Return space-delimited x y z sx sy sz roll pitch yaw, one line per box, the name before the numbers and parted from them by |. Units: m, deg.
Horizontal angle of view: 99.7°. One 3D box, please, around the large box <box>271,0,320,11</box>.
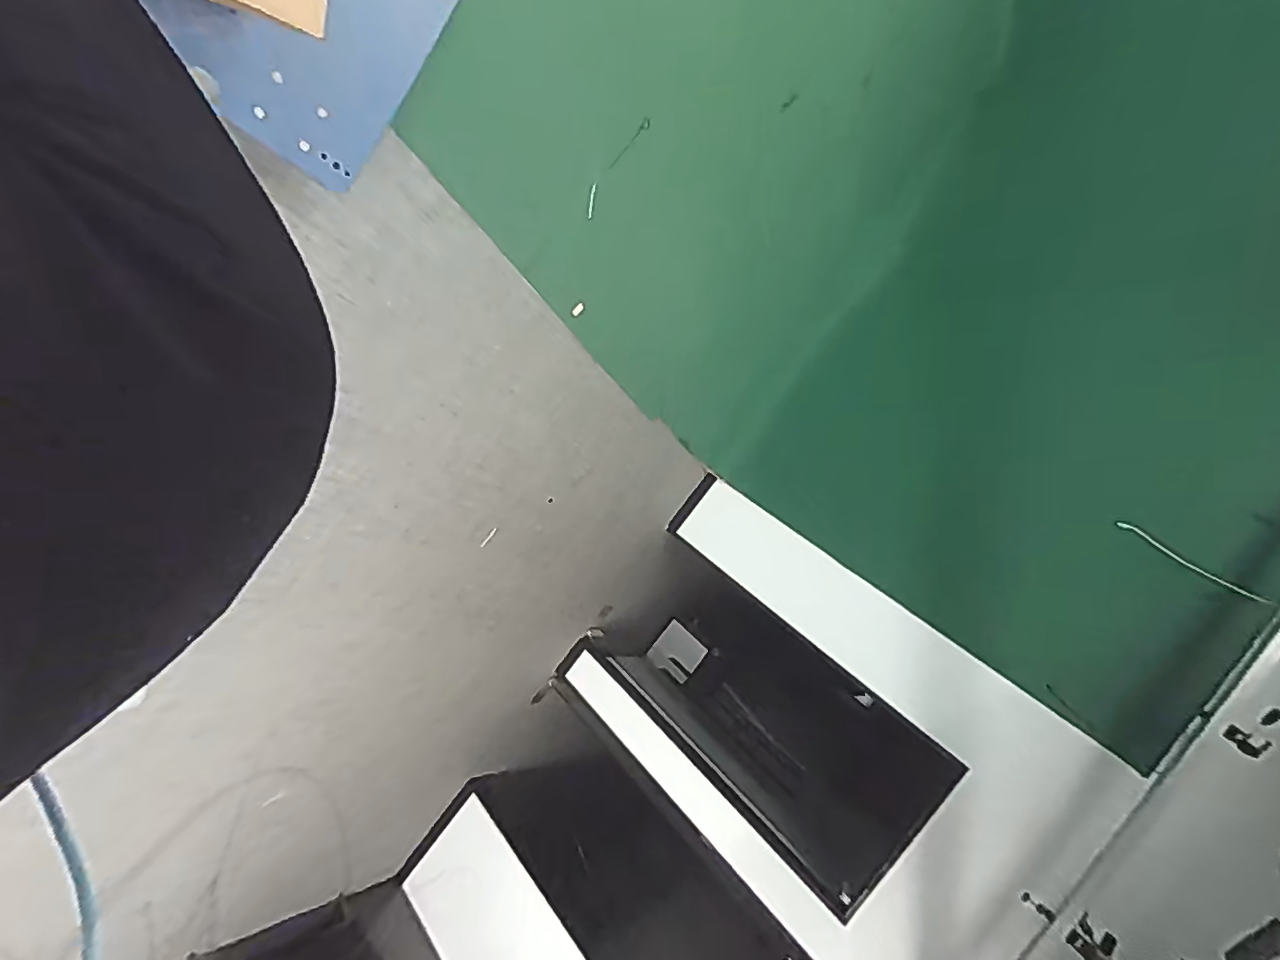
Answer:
large box | -0.565 -0.850 0.603 0.320 0.320 0.408 -10 131 -49
